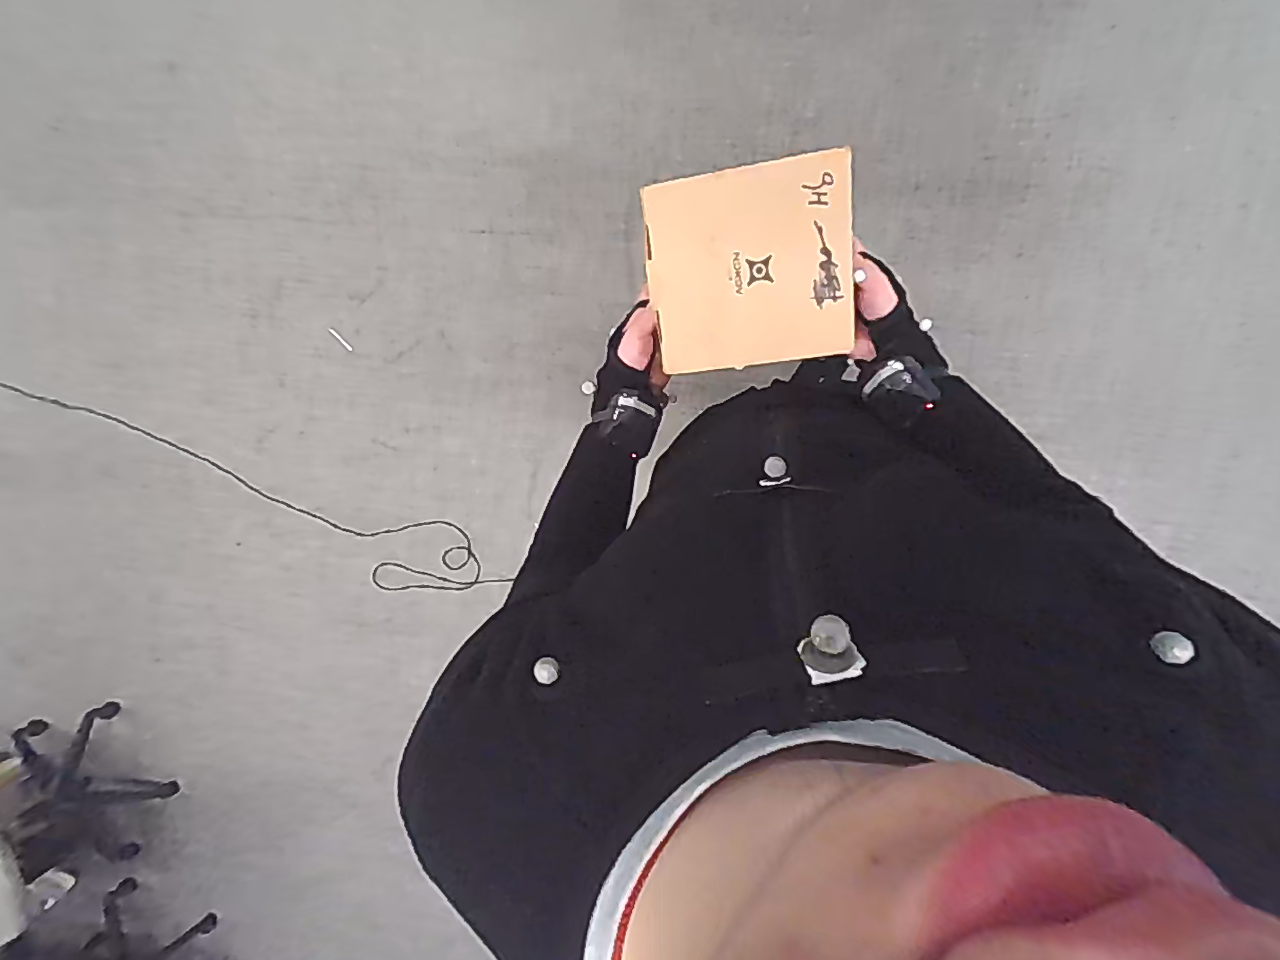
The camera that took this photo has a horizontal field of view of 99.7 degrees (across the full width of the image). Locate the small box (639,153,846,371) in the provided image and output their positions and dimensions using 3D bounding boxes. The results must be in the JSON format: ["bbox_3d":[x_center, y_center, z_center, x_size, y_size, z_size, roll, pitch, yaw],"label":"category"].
[{"bbox_3d":[0.107,-0.212,0.555,0.179,0.176,0.168,-4,110,12],"label":"small box"}]
